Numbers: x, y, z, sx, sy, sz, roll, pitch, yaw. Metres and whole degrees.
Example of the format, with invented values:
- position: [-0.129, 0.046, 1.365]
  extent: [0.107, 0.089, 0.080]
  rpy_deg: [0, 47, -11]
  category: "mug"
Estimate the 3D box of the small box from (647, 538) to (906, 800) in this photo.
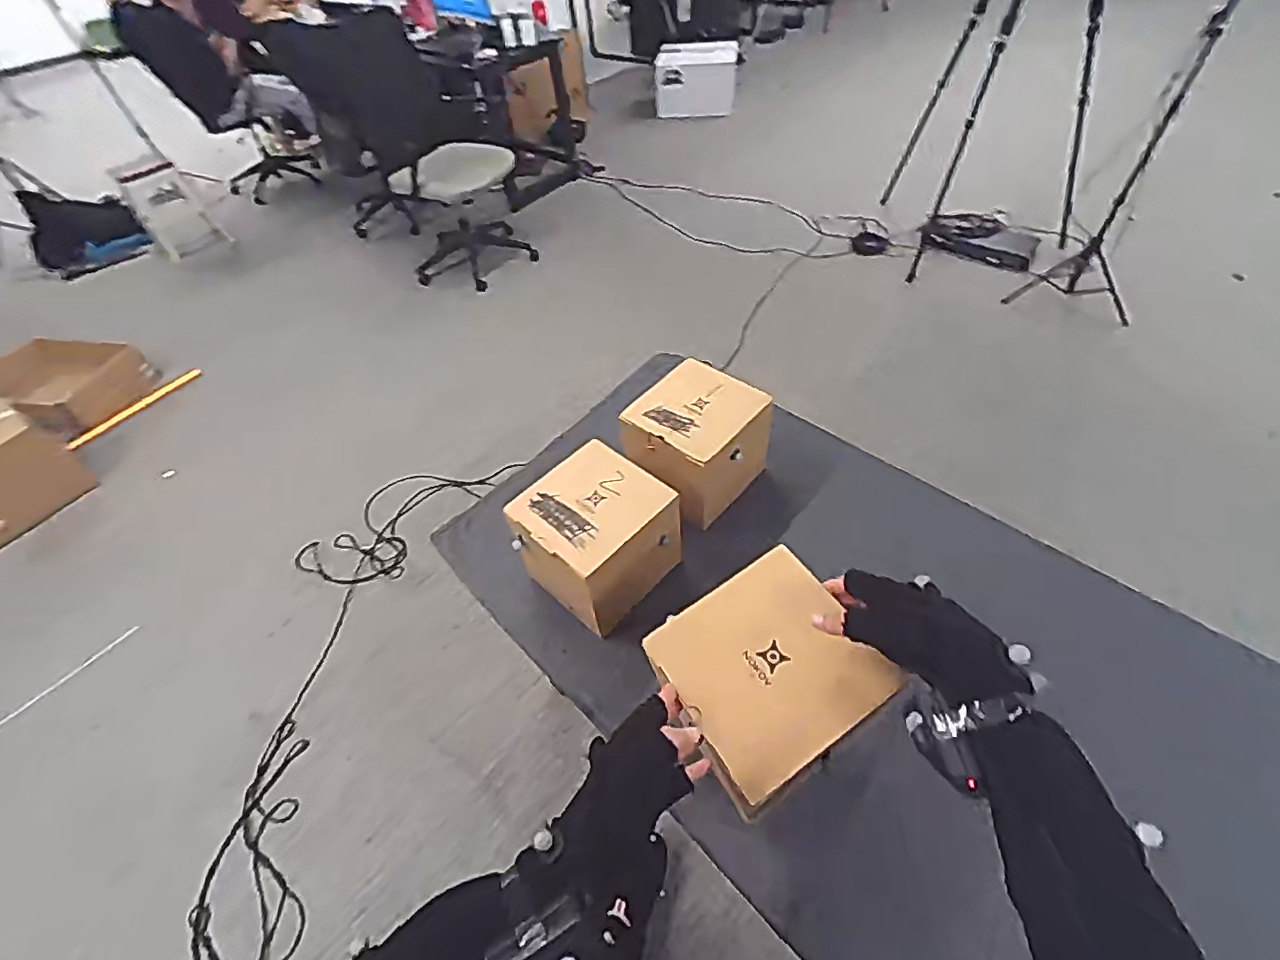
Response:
- position: [0.130, 0.197, 0.557]
  extent: [0.179, 0.176, 0.168]
  rpy_deg: [-33, 56, -10]
  category: "small box"

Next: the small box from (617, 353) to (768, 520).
- position: [0.088, -0.068, 0.880]
  extent: [0.168, 0.176, 0.179]
  rpy_deg: [33, 61, 28]
  category: "small box"
